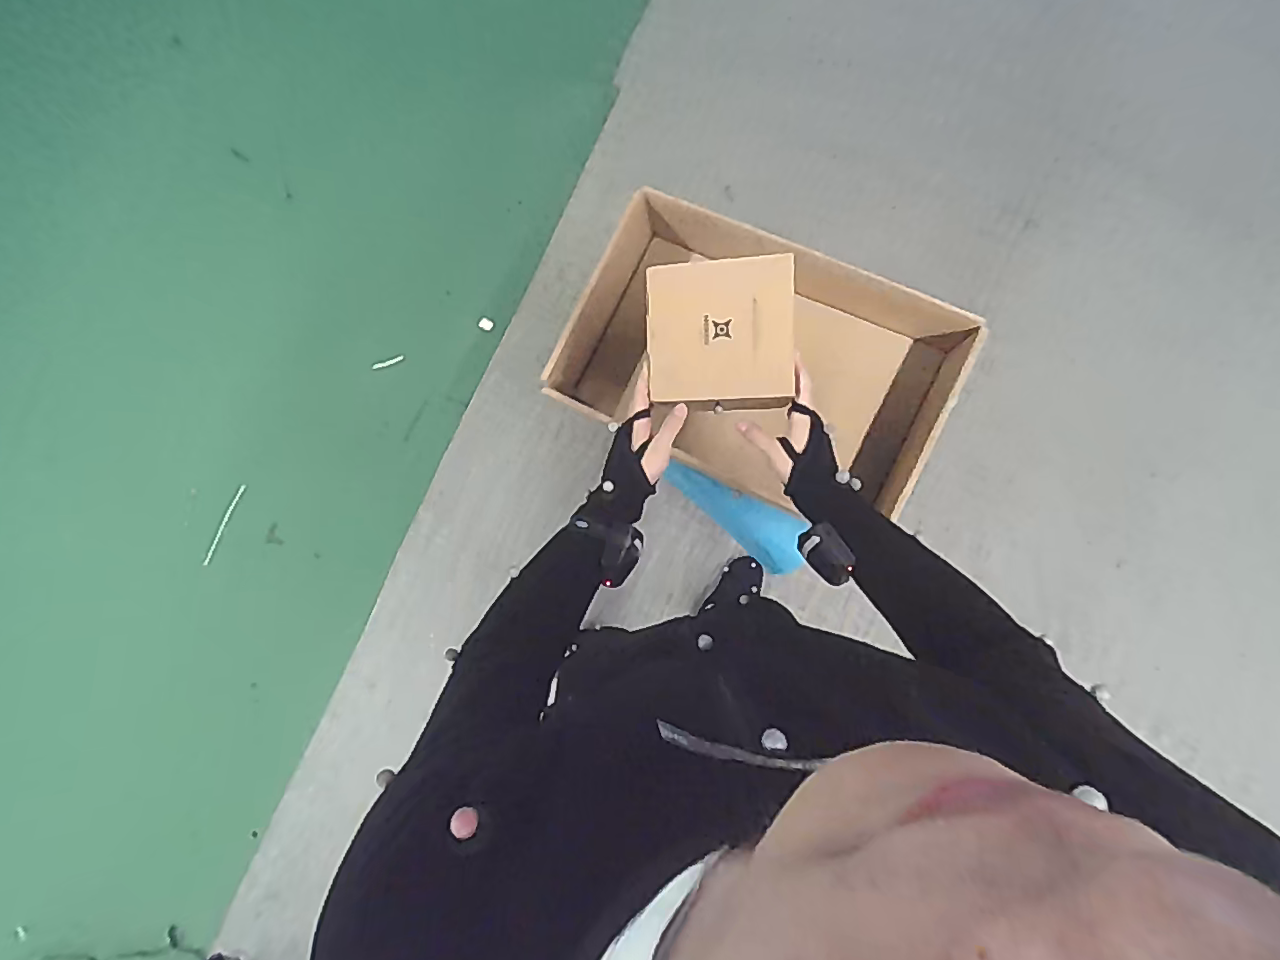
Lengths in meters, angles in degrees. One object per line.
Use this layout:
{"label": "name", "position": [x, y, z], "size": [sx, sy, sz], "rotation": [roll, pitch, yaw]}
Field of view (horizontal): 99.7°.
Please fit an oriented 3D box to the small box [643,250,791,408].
{"label": "small box", "position": [0.107, -0.186, 0.717], "size": [0.179, 0.176, 0.168], "rotation": [-1, 93, 13]}
